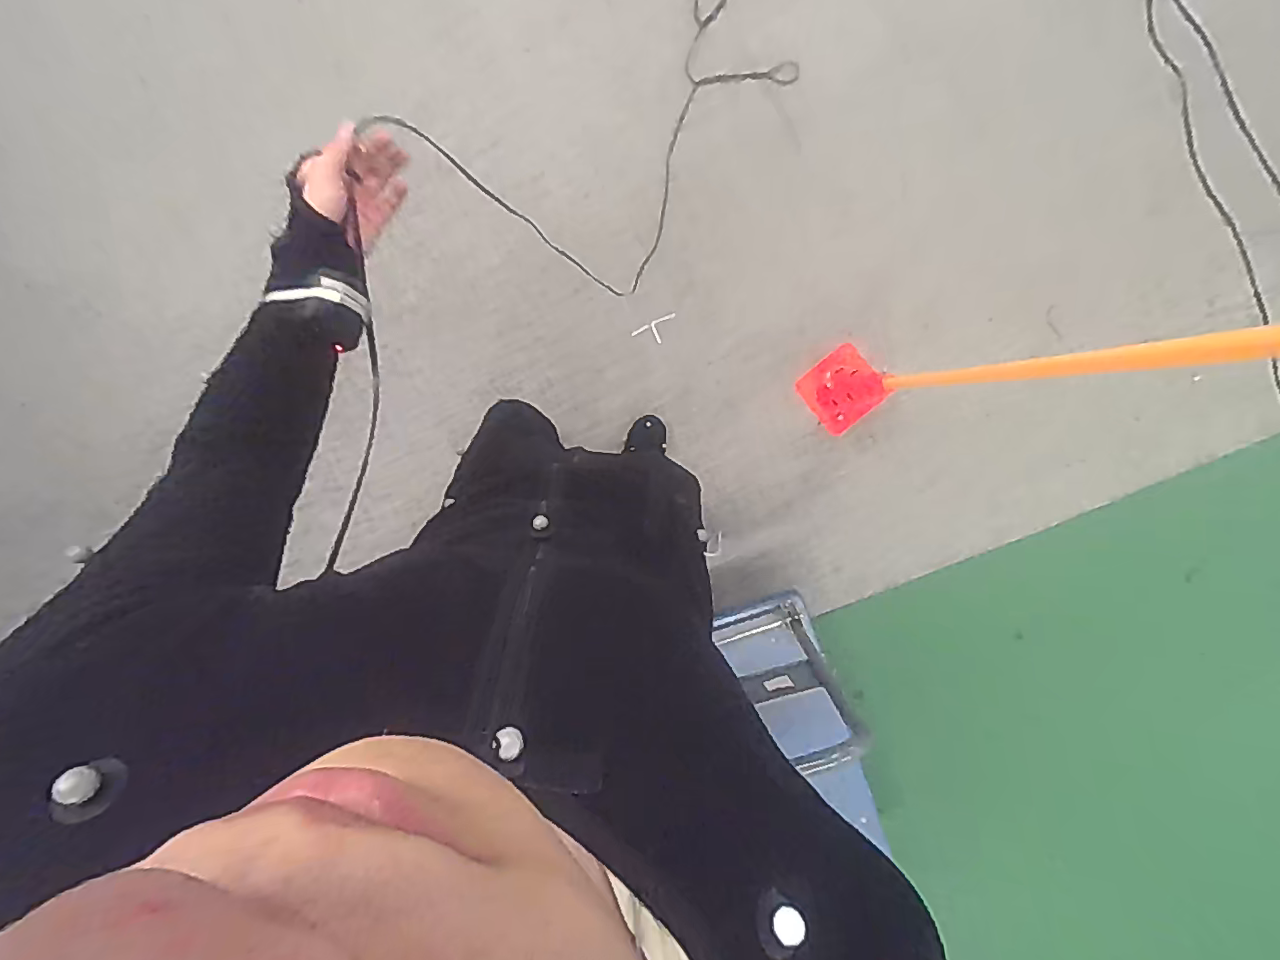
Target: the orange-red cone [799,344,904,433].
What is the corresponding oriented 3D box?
[{"bbox_3d":[0.569,-0.236,1.359,0.199,0.360,0.198,-38,95,6],"label":"orange-red cone"}]
